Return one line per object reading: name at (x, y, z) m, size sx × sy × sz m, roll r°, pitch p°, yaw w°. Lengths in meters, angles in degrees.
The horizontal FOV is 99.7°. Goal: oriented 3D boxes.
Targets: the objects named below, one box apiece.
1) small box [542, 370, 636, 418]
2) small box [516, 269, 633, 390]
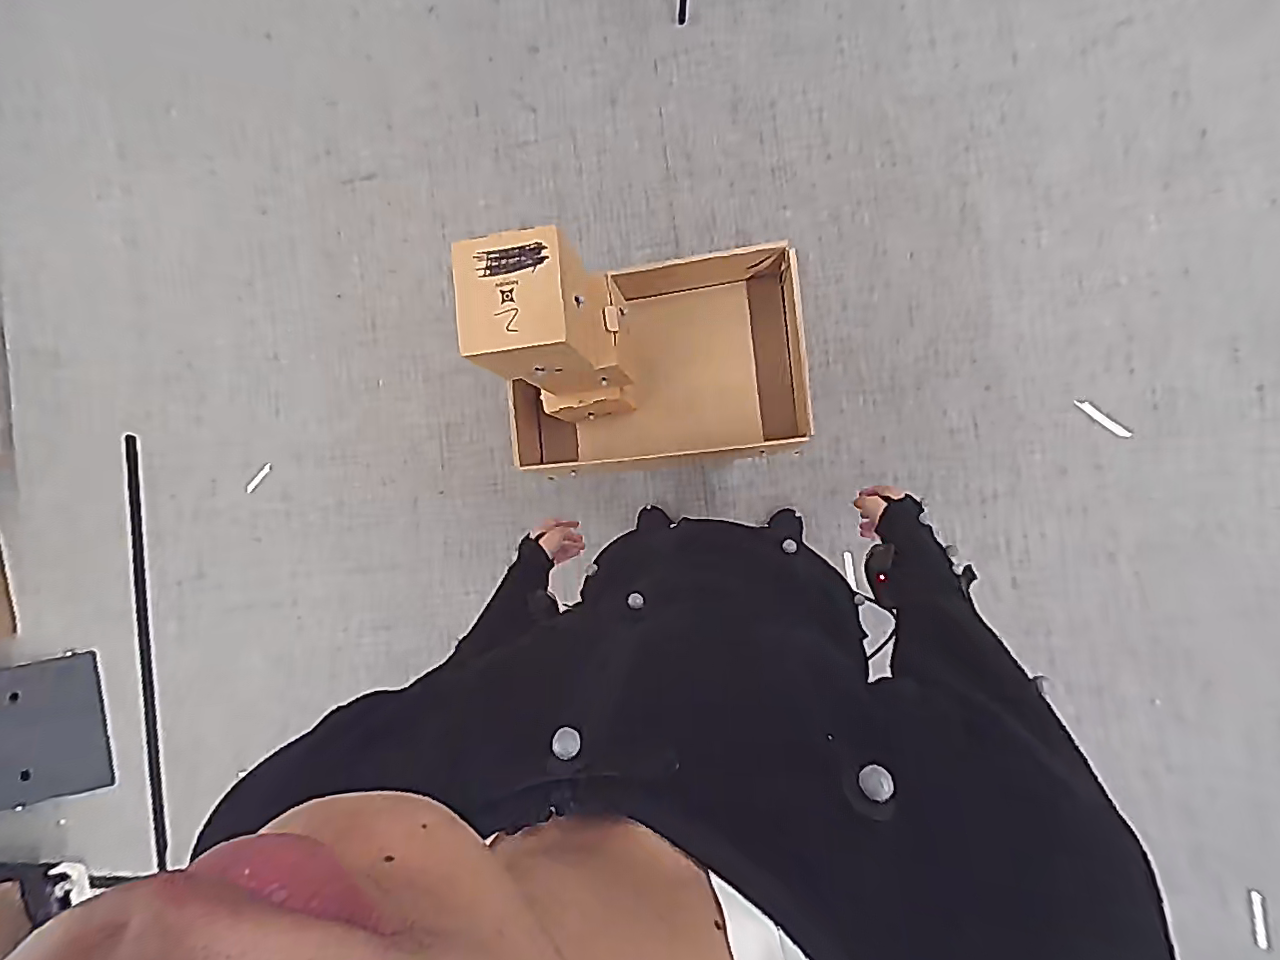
small box at (-0.113, -0.242, 1.172) m, size 0.168 × 0.176 × 0.179 m, roll -11°, pitch 88°, yaw 10°
small box at (-0.113, -0.270, 1.007) m, size 0.179 × 0.176 × 0.168 m, roll -6°, pitch 88°, yaw 10°
